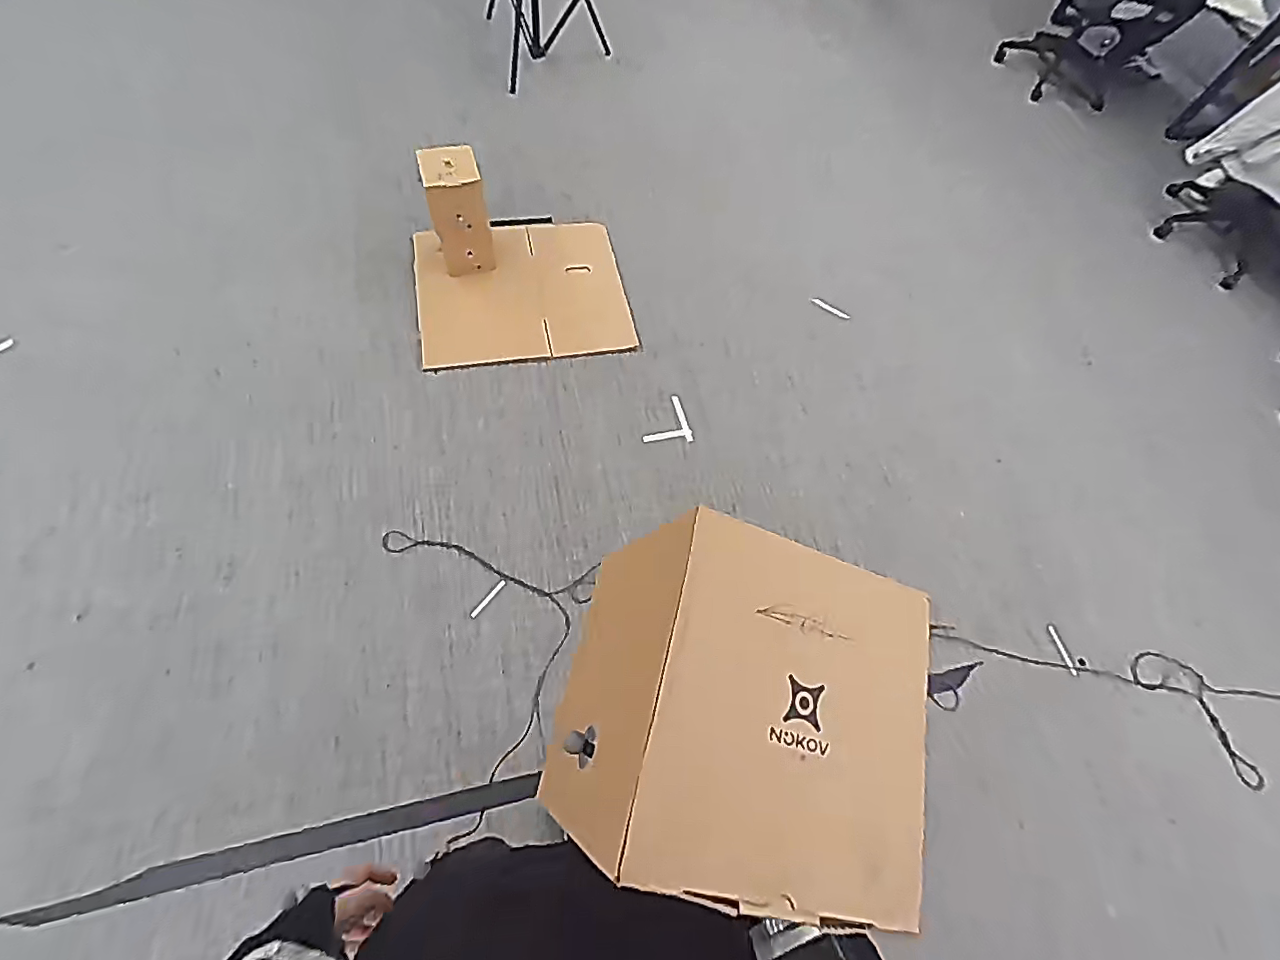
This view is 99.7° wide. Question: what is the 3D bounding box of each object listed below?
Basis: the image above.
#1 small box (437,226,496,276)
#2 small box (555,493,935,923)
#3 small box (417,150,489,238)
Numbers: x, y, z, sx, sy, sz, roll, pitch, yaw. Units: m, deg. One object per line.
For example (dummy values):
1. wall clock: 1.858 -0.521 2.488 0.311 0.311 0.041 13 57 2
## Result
1. small box: -0.592 -0.812 1.826 0.168 0.176 0.179 -16 67 -15
2. small box: 0.056 0.135 0.347 0.168 0.176 0.179 21 64 -16
3. small box: -0.578 -0.886 1.680 0.168 0.176 0.179 -15 66 -13
